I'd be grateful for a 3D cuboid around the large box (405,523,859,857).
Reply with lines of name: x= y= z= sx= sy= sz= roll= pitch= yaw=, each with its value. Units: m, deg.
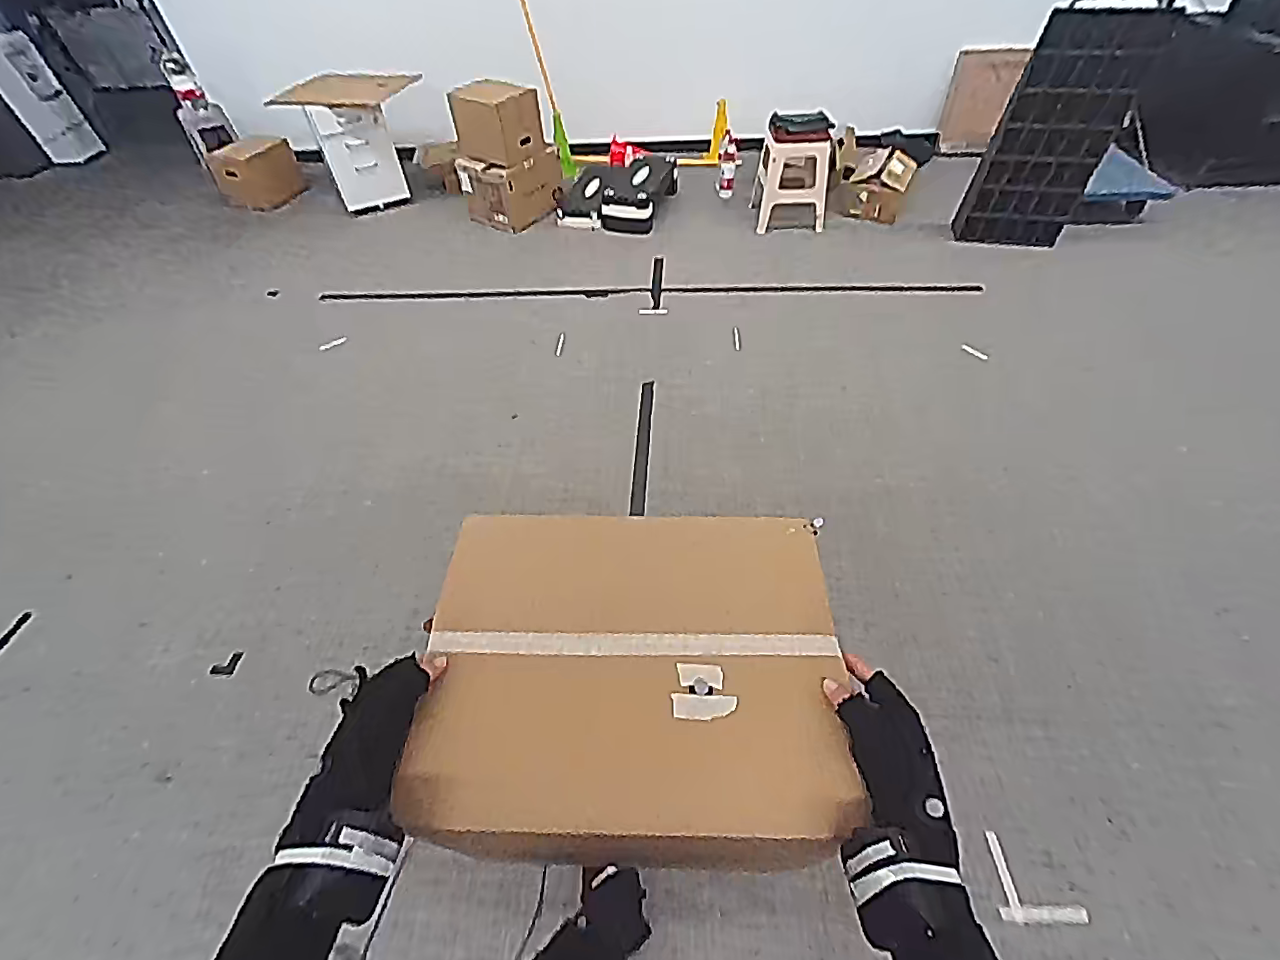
large box: x=-0.007 y=0.266 z=0.673 sx=0.408 sy=0.320 sz=0.320 roll=1 pitch=51 yaw=1
